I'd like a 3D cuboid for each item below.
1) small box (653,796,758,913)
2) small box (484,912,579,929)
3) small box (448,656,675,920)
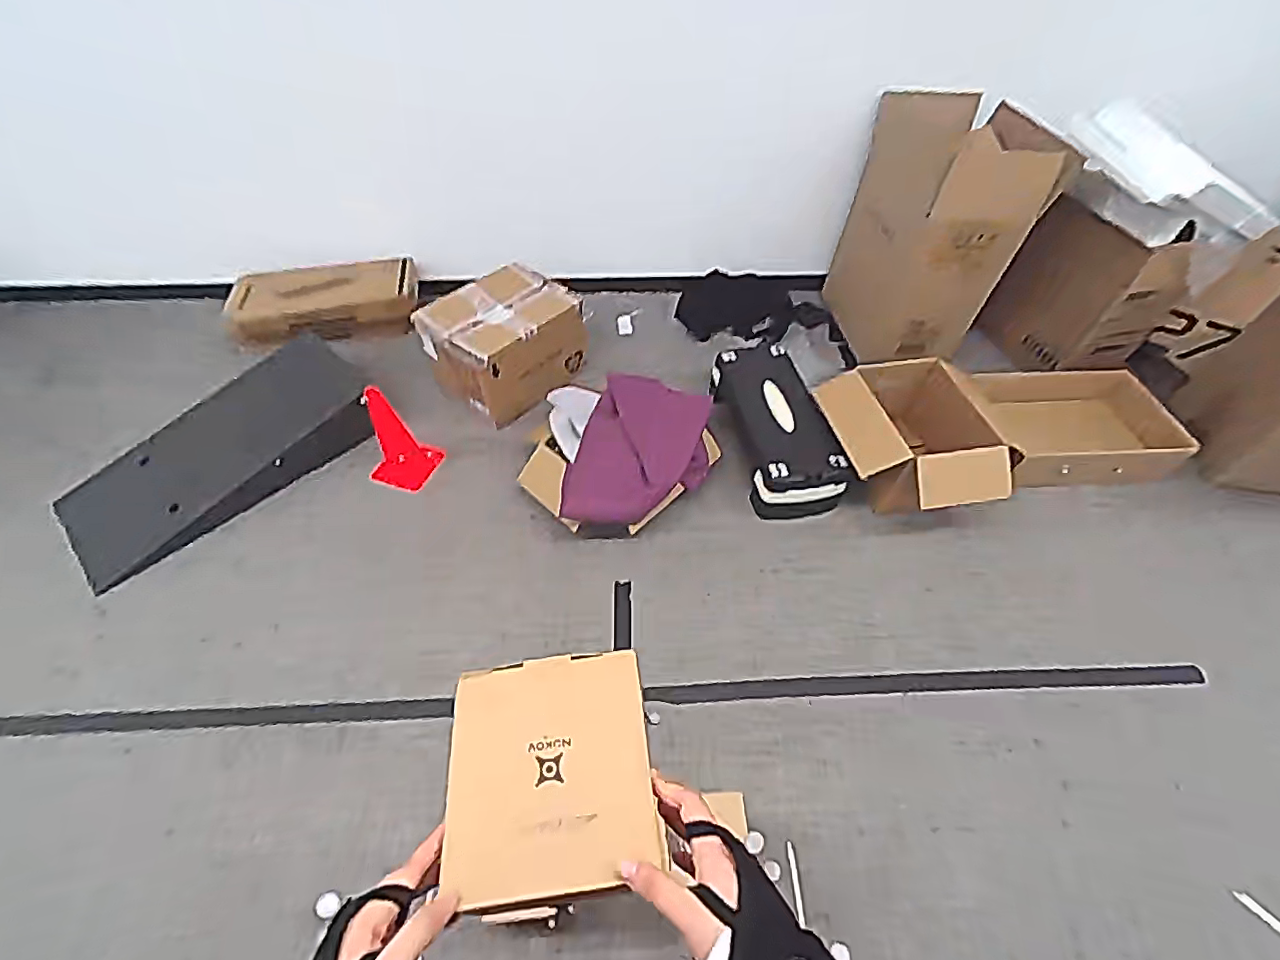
[{"bbox_3d":[0.110,0.707,1.019,0.179,0.176,0.168,-1,51,-3],"label":"small box"},{"bbox_3d":[-0.215,0.823,1.130,0.179,0.176,0.168,-4,51,-3],"label":"small box"},{"bbox_3d":[-0.062,0.287,0.501,0.168,0.176,0.179,-8,52,-1],"label":"small box"}]
